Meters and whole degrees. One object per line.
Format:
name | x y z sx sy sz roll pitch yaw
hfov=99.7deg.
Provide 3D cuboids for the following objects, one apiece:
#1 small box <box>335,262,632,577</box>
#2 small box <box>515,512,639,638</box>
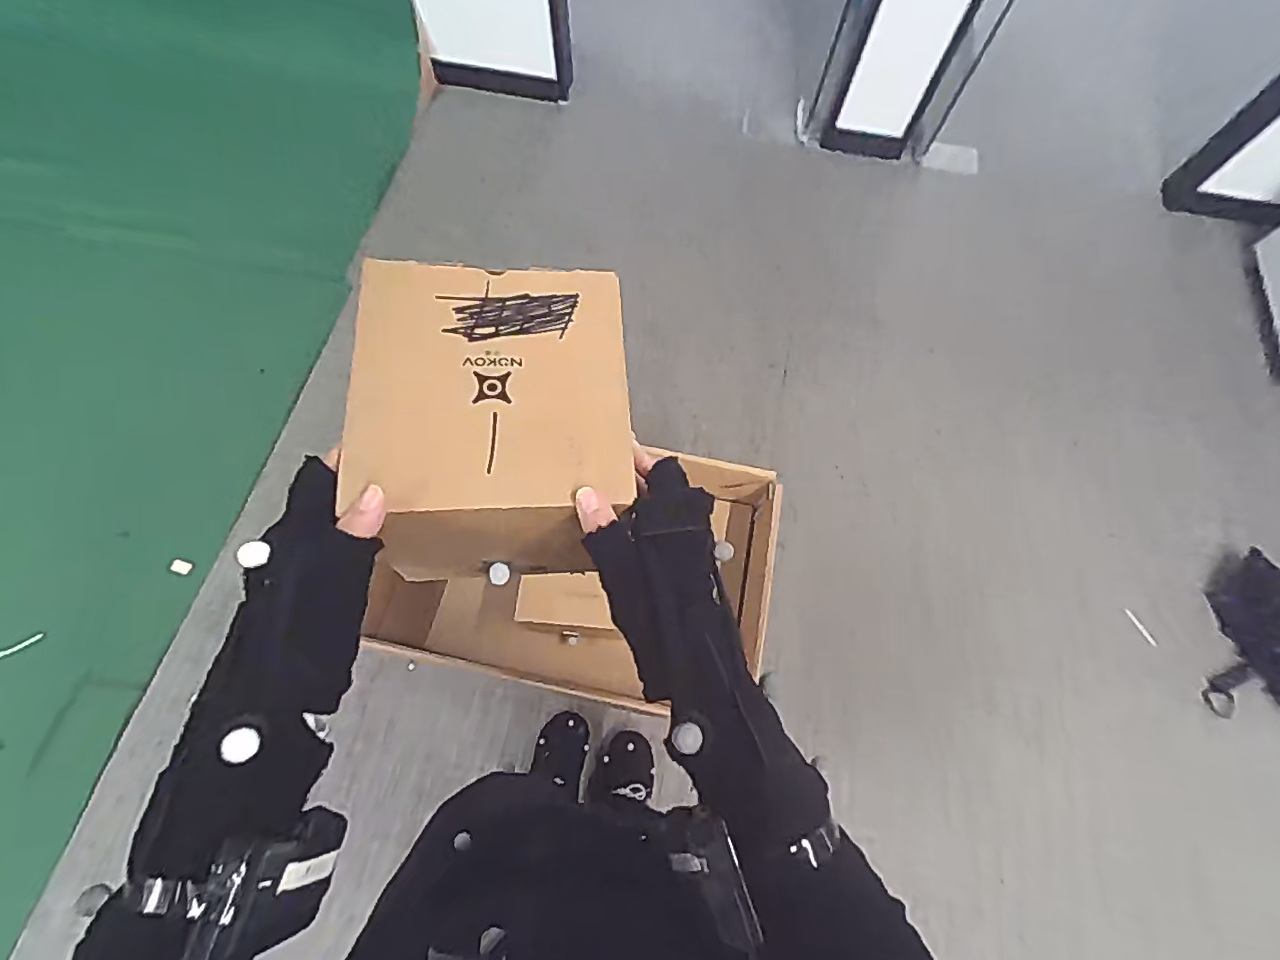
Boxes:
small box | -0.104 -0.034 0.408 0.168 0.176 0.179 -2 68 -10
small box | -0.092 0.152 0.876 0.168 0.176 0.179 5 69 2
